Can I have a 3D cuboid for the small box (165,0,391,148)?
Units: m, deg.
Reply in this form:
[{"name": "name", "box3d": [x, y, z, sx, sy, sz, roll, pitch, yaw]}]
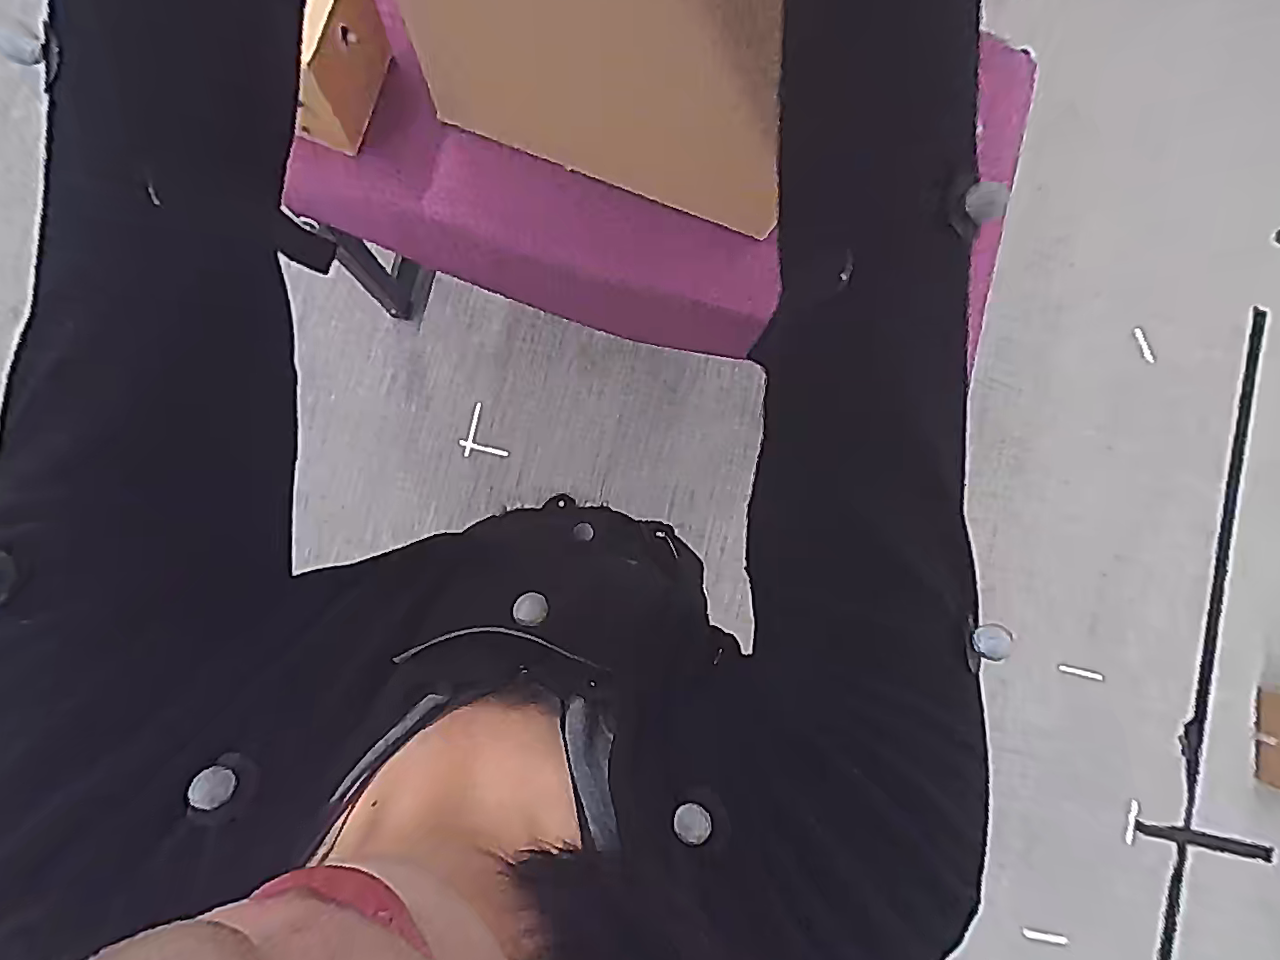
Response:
[{"name": "small box", "box3d": [-0.446, -0.581, 0.702, 0.168, 0.176, 0.179, 17, 83, -9]}]
